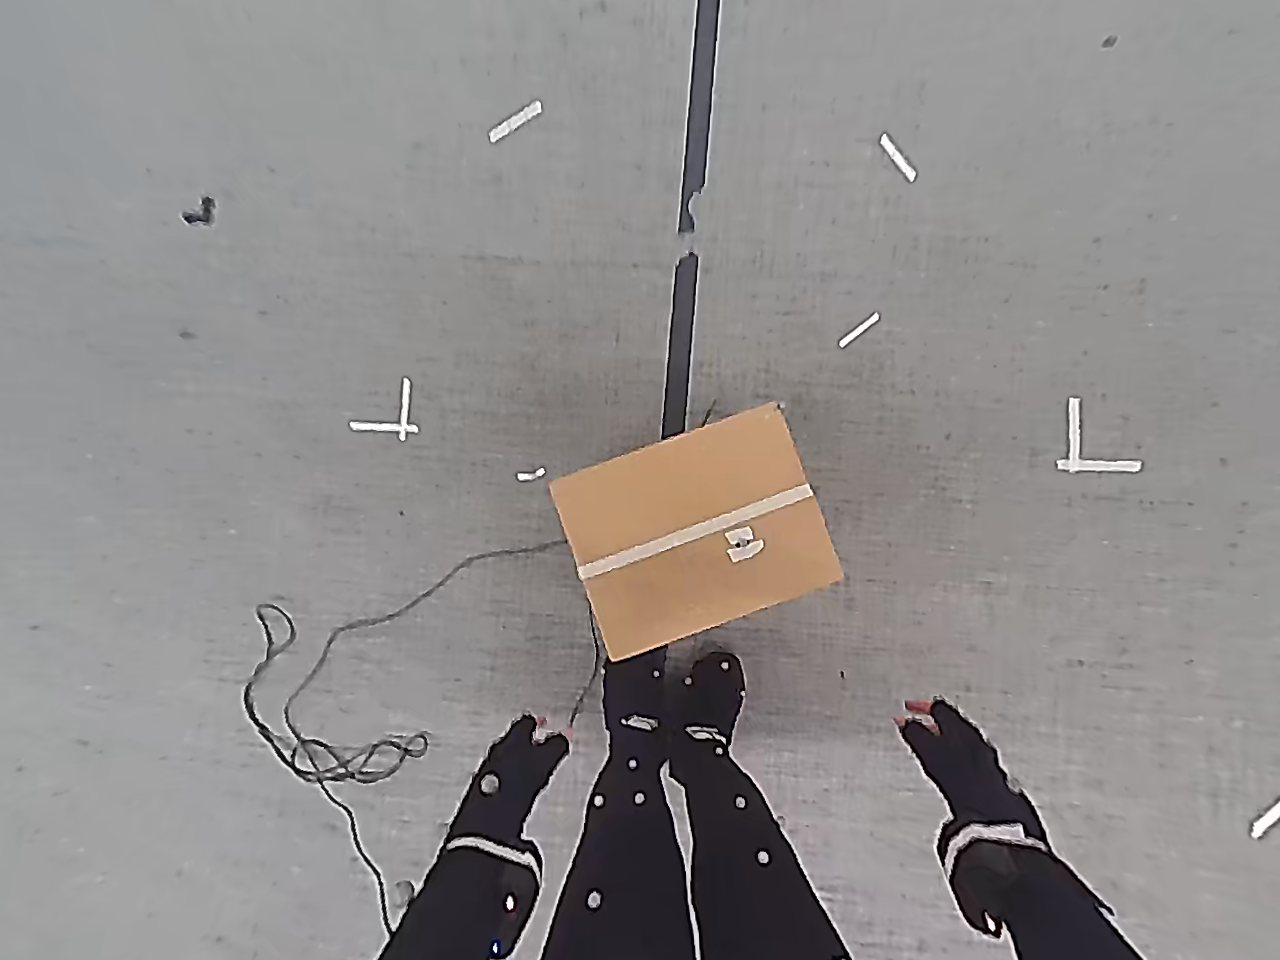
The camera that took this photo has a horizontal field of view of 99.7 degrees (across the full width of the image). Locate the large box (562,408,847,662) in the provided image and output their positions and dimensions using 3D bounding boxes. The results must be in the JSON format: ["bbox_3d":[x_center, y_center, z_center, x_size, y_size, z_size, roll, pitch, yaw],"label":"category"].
[{"bbox_3d":[0.106,0.099,1.039,0.408,0.320,0.320,-19,88,0],"label":"large box"}]
